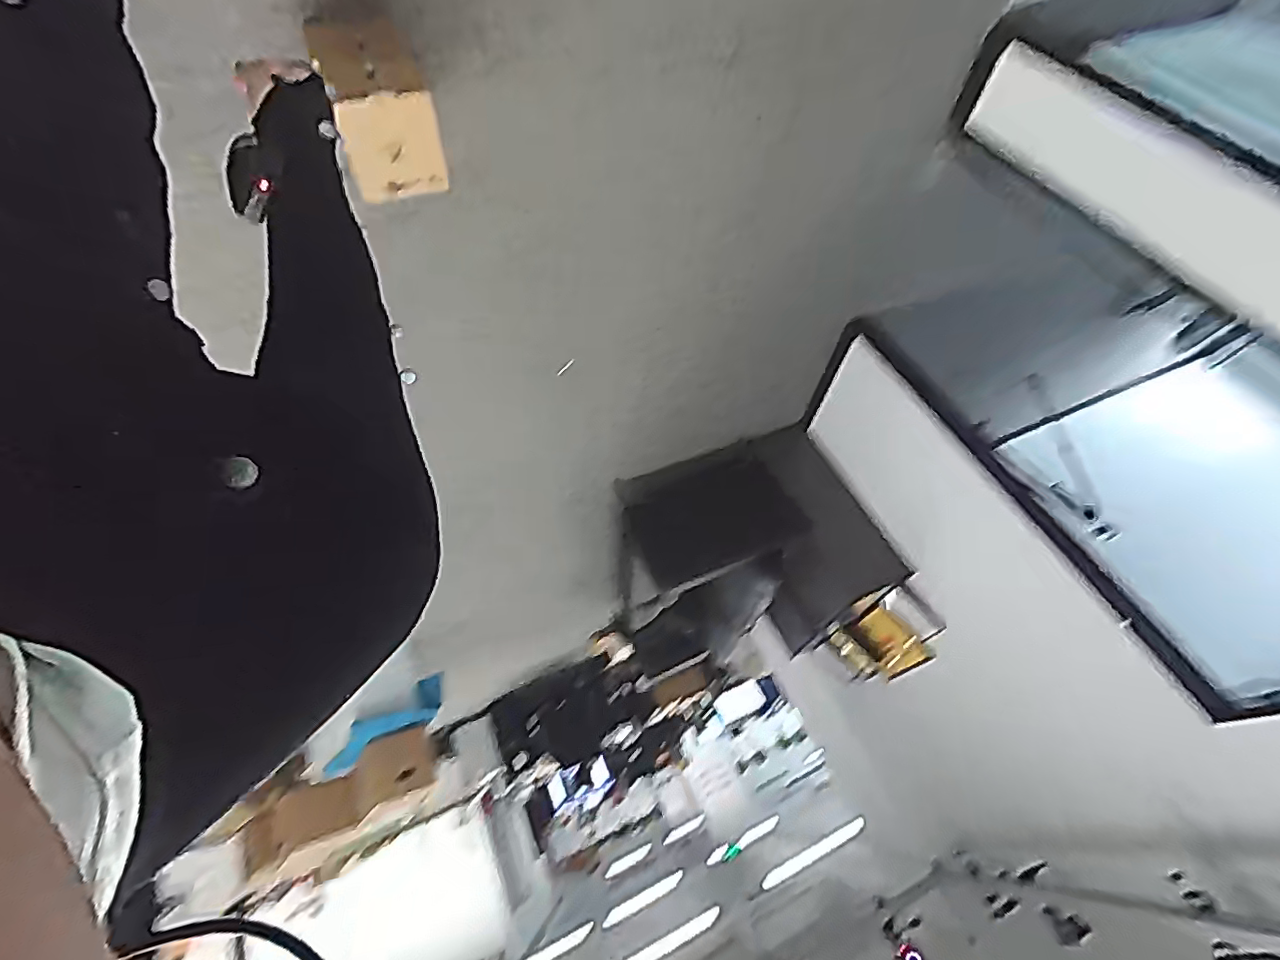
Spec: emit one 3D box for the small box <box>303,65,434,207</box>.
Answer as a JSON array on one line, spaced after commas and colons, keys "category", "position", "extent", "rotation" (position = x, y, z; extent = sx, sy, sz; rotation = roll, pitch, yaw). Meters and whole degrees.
[{"category": "small box", "position": [-0.501, -0.643, 1.005], "extent": [0.168, 0.176, 0.179], "rotation": [-18, 150, -19]}]
